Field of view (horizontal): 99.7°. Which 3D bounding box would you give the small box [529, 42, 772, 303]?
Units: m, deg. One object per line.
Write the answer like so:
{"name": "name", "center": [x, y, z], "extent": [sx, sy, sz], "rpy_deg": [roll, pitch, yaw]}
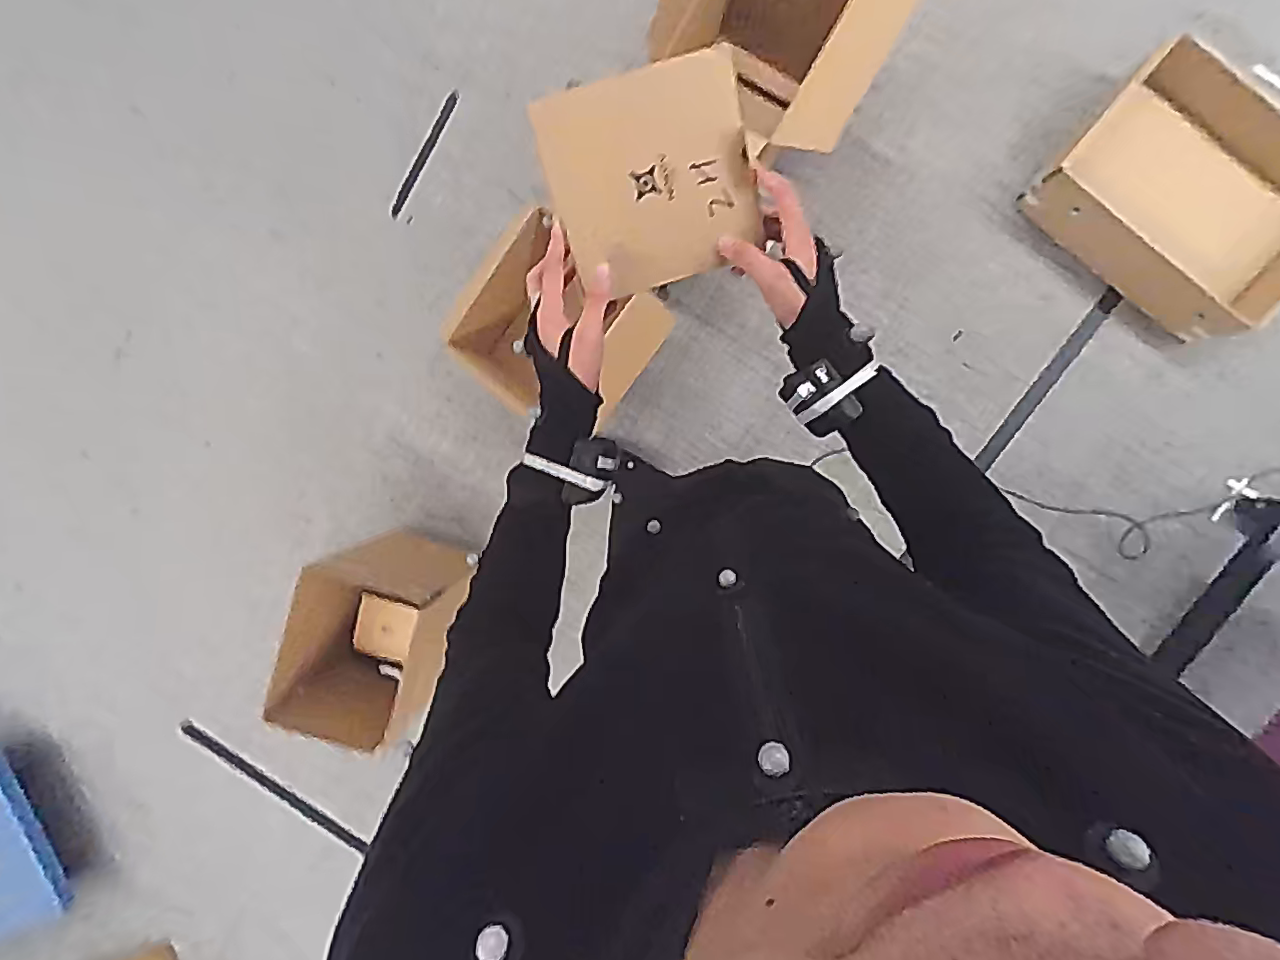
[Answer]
{"name": "small box", "center": [0.006, -0.277, 0.531], "extent": [0.179, 0.176, 0.168], "rpy_deg": [-18, 110, -2]}
